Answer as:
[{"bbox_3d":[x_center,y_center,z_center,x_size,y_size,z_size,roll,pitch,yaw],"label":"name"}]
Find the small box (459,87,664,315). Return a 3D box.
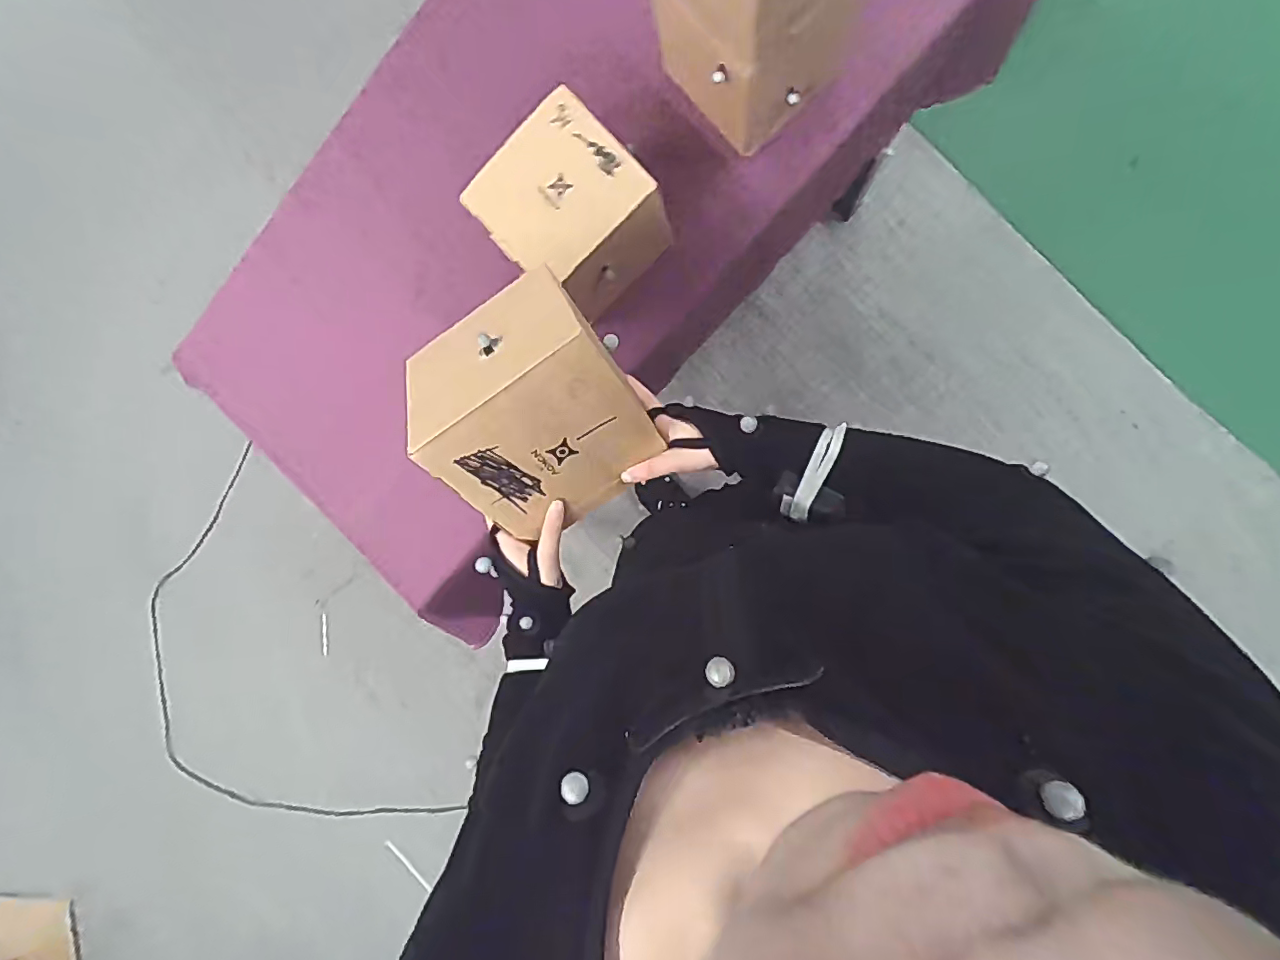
[{"bbox_3d":[-0.088,-0.334,0.700,0.179,0.176,0.168,-42,85,10],"label":"small box"}]

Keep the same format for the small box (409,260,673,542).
[{"bbox_3d":[-0.099,-0.079,0.530,0.179,0.168,0.176,-33,44,5],"label":"small box"}]

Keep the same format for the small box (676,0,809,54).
[{"bbox_3d":[0.103,-0.545,0.490,0.168,0.176,0.179,-42,86,9],"label":"small box"}]

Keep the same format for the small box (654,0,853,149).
[{"bbox_3d":[0.129,-0.553,0.653,0.168,0.176,0.179,-41,87,9],"label":"small box"}]
